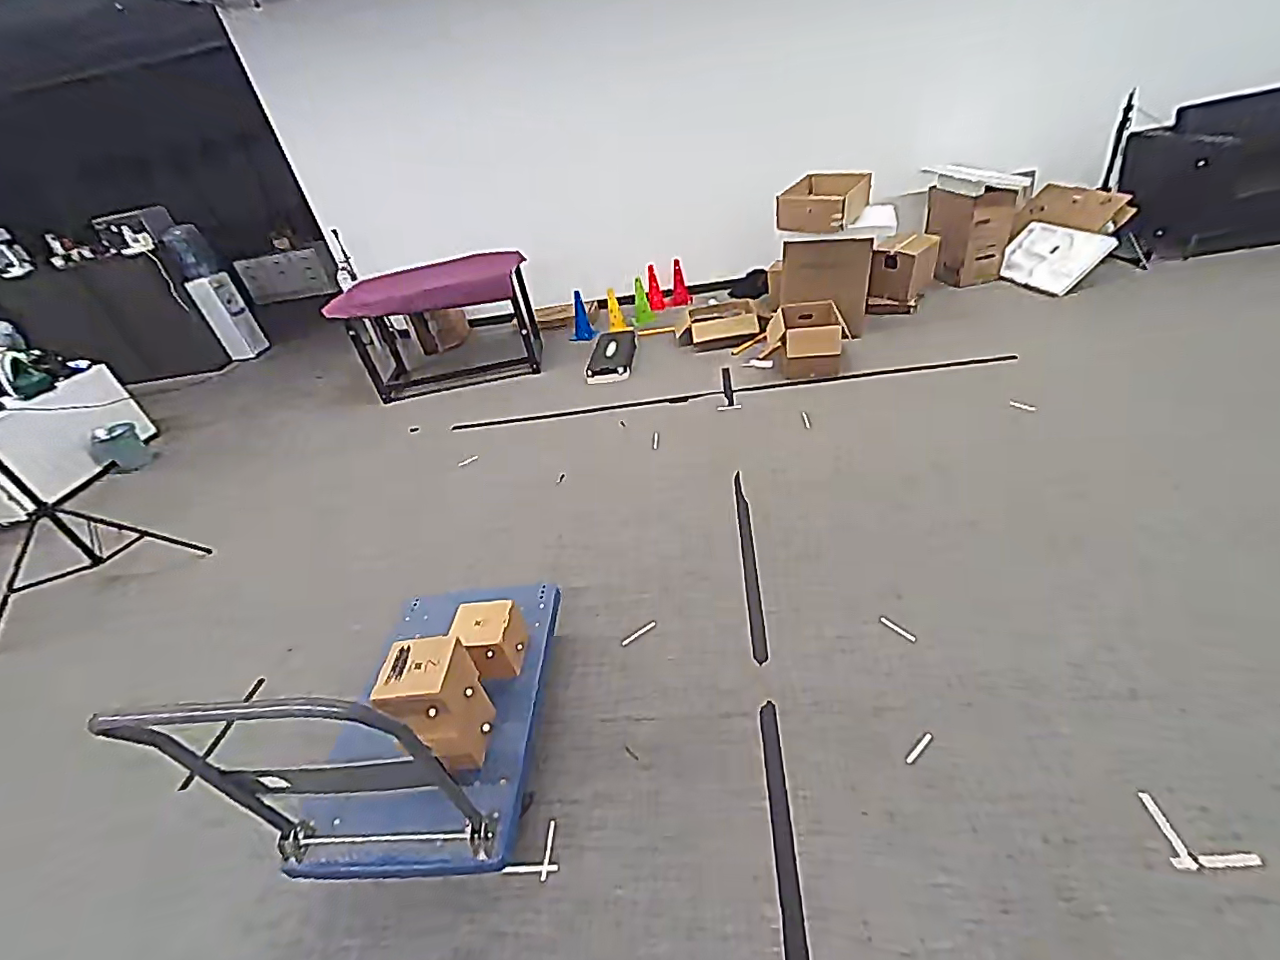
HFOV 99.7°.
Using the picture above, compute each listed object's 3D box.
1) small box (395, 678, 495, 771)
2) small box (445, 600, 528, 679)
[{"bbox_3d":[-0.513,0.657,1.448,0.179,0.176,0.168,-7,36,6],"label":"small box"},{"bbox_3d":[-0.465,0.494,1.662,0.179,0.176,0.168,-7,36,7],"label":"small box"}]
